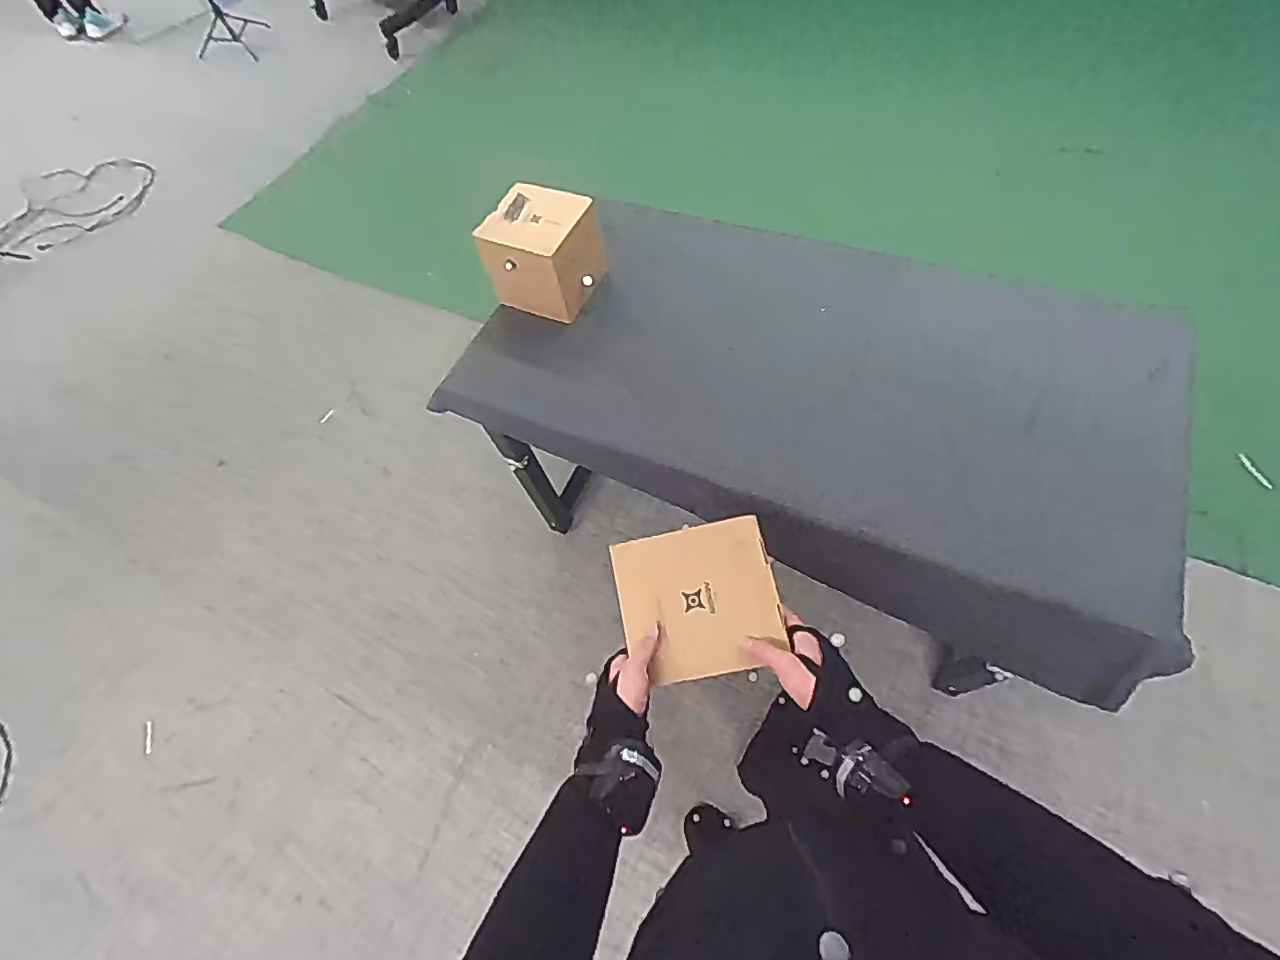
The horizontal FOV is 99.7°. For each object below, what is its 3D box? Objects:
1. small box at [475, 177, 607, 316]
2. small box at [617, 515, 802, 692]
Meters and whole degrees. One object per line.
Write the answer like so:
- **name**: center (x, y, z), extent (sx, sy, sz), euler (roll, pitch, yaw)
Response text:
- **small box**: center (-0.182, -0.448, 1.053), extent (0.179, 0.176, 0.168), euler (22, 67, 15)
- **small box**: center (0.082, 0.157, 0.668), extent (0.179, 0.176, 0.168), euler (-13, 69, 5)
